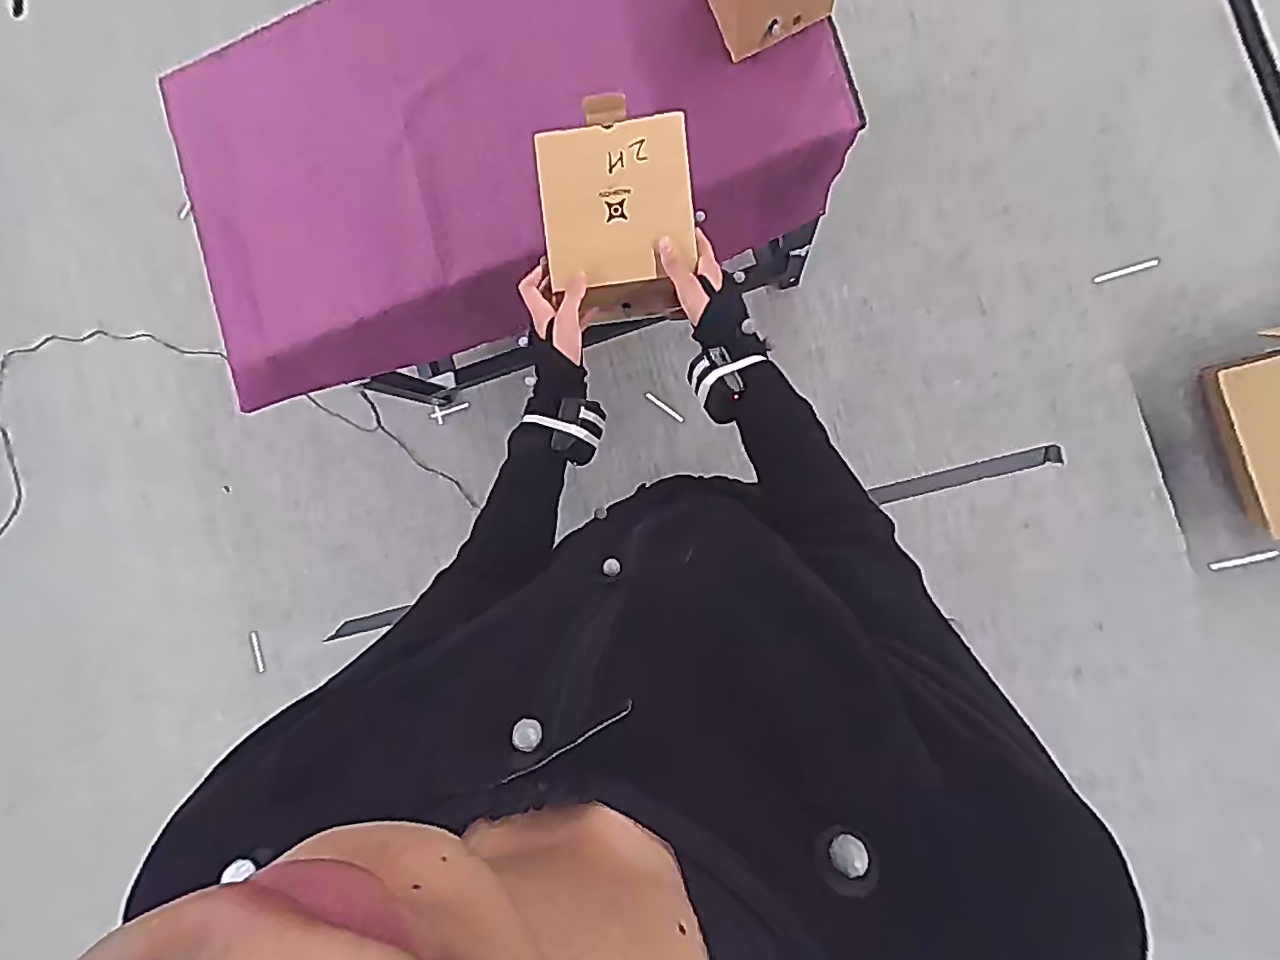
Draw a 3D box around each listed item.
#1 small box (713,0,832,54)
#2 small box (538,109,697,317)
[{"bbox_3d":[0.182,-0.788,0.784,0.168,0.176,0.179,-21,87,11],"label":"small box"},{"bbox_3d":[-0.019,-0.307,0.664,0.168,0.176,0.179,-5,92,3],"label":"small box"}]
